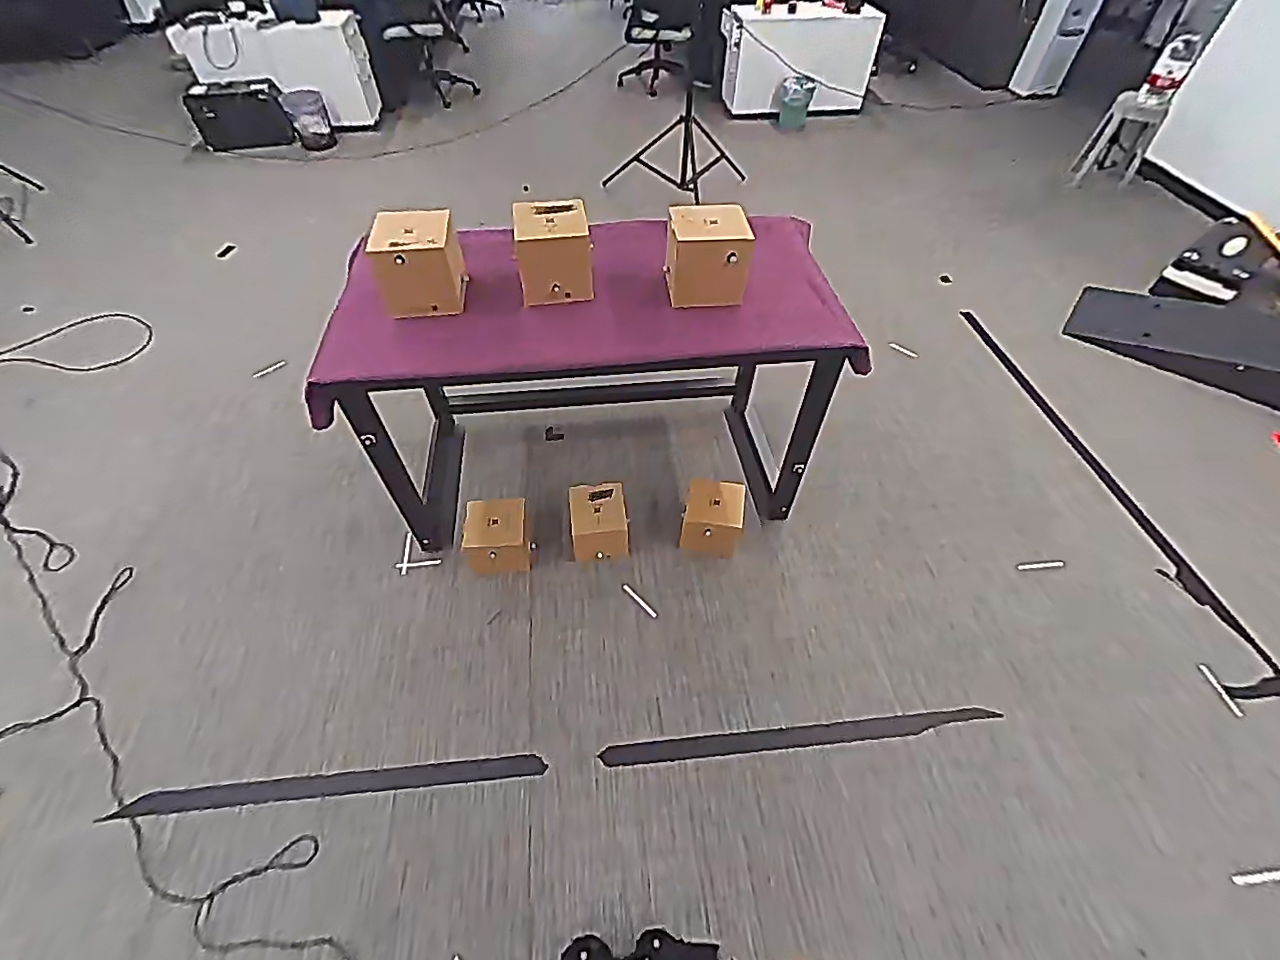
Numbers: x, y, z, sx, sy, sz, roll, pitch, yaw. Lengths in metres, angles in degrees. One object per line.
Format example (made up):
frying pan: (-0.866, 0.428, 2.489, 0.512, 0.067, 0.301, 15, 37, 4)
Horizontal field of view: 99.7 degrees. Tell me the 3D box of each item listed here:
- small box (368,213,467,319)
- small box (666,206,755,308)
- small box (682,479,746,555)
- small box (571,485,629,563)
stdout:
small box: (-0.507, -0.497, 1.259, 0.168, 0.176, 0.179, -6, 51, -6)
small box: (0.160, -0.529, 1.289, 0.179, 0.176, 0.168, -4, 50, -3)
small box: (0.232, 0.121, 1.704, 0.179, 0.176, 0.168, 7, 52, 7)
small box: (-0.124, 0.138, 1.685, 0.168, 0.176, 0.179, -6, 52, -5)
